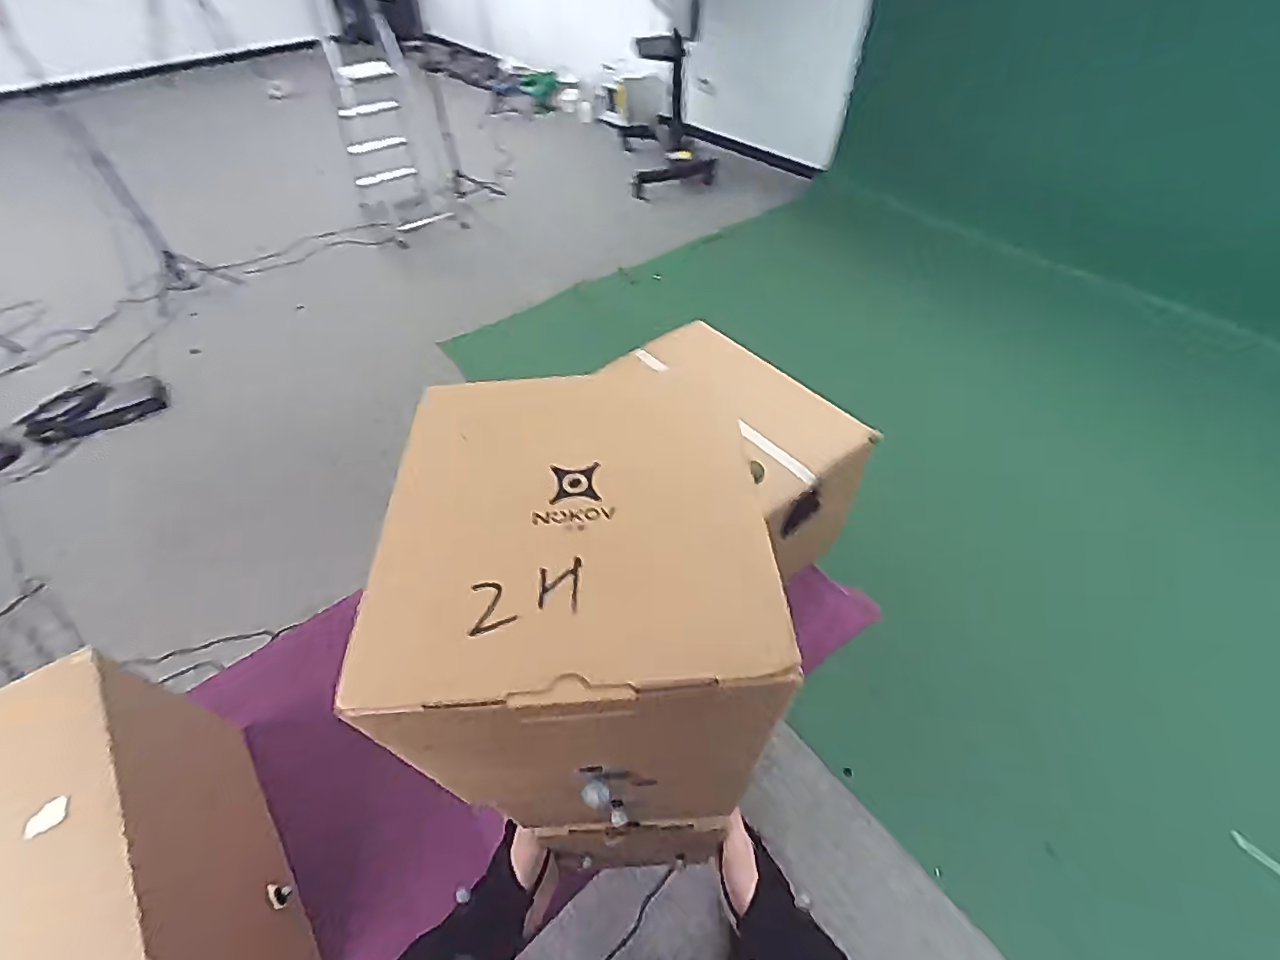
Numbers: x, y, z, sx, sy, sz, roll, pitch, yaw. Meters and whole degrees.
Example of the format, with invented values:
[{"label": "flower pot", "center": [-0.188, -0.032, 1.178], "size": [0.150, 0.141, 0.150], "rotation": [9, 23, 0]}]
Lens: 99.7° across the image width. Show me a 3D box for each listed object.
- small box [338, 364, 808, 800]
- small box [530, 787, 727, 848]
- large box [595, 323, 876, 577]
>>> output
[{"label": "small box", "center": [-0.024, 0.059, 0.299], "size": [0.168, 0.176, 0.179], "rotation": [-4, 51, 0]}, {"label": "small box", "center": [-0.007, 0.267, 0.554], "size": [0.168, 0.176, 0.179], "rotation": [-1, 50, 0]}, {"label": "large box", "center": [0.122, -0.015, 0.979], "size": [0.320, 0.320, 0.408], "rotation": [-33, 57, -22]}]
